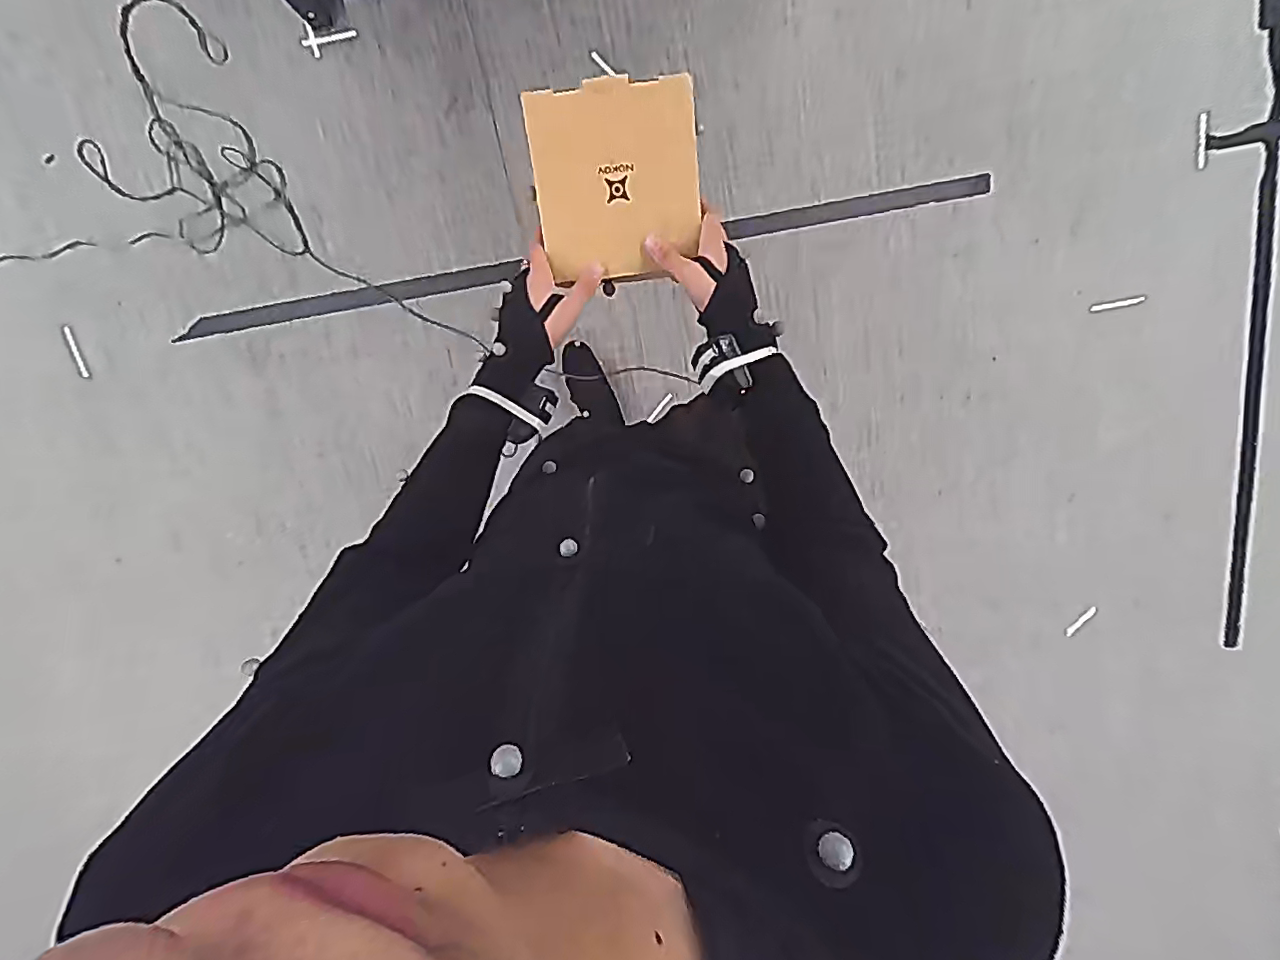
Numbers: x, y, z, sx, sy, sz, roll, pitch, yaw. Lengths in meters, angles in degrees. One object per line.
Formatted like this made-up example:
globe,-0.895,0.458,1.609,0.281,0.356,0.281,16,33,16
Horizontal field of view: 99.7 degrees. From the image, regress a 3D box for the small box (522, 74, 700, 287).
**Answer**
small box,-0.027,-0.321,0.619,0.168,0.176,0.179,-7,106,0
